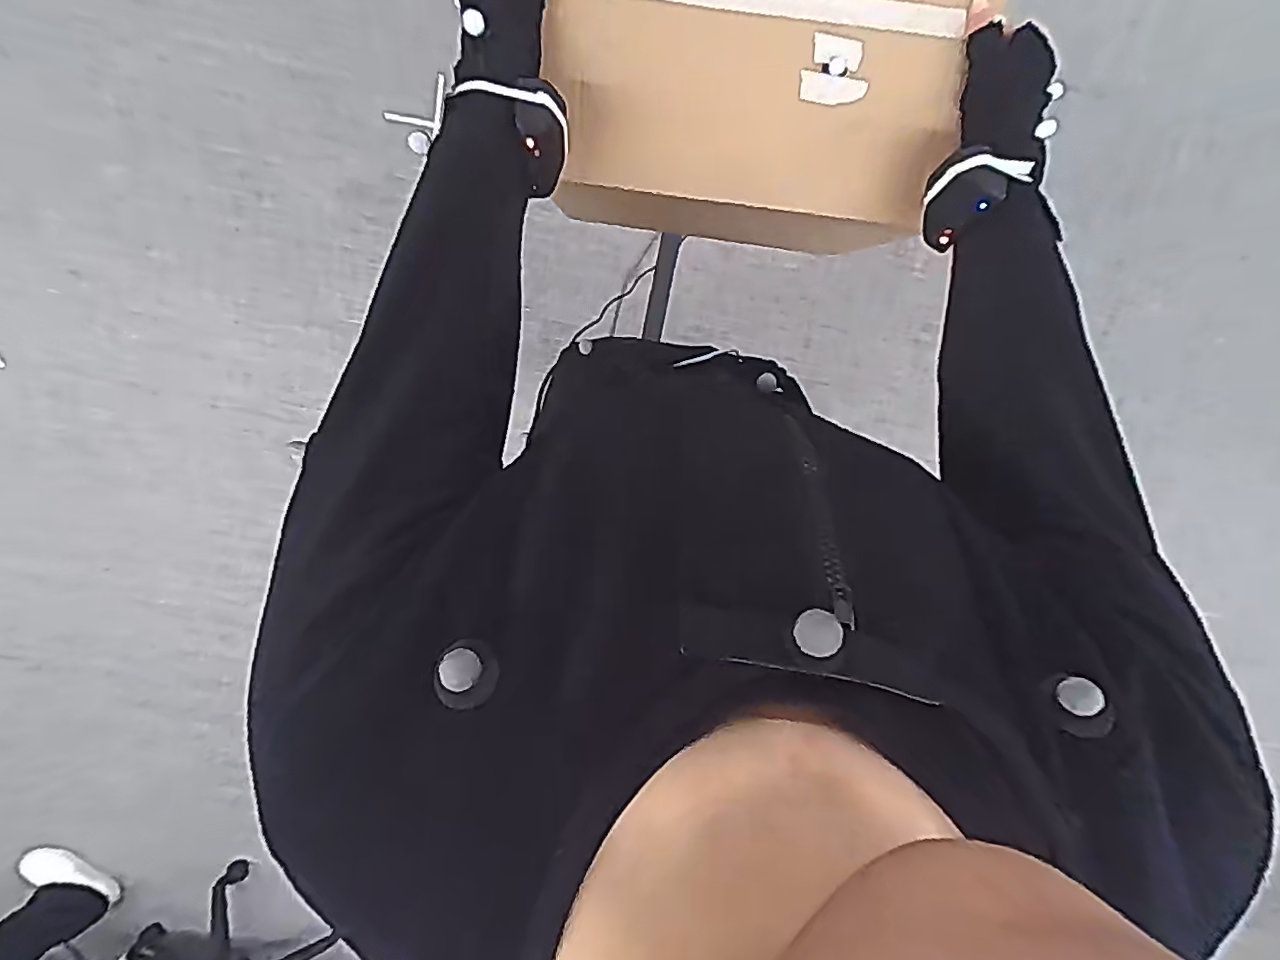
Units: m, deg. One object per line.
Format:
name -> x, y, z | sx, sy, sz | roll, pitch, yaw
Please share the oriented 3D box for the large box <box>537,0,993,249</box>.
large box -> 0.108, -0.461, 0.621 | 0.408, 0.320, 0.320 | 6, 110, -3
